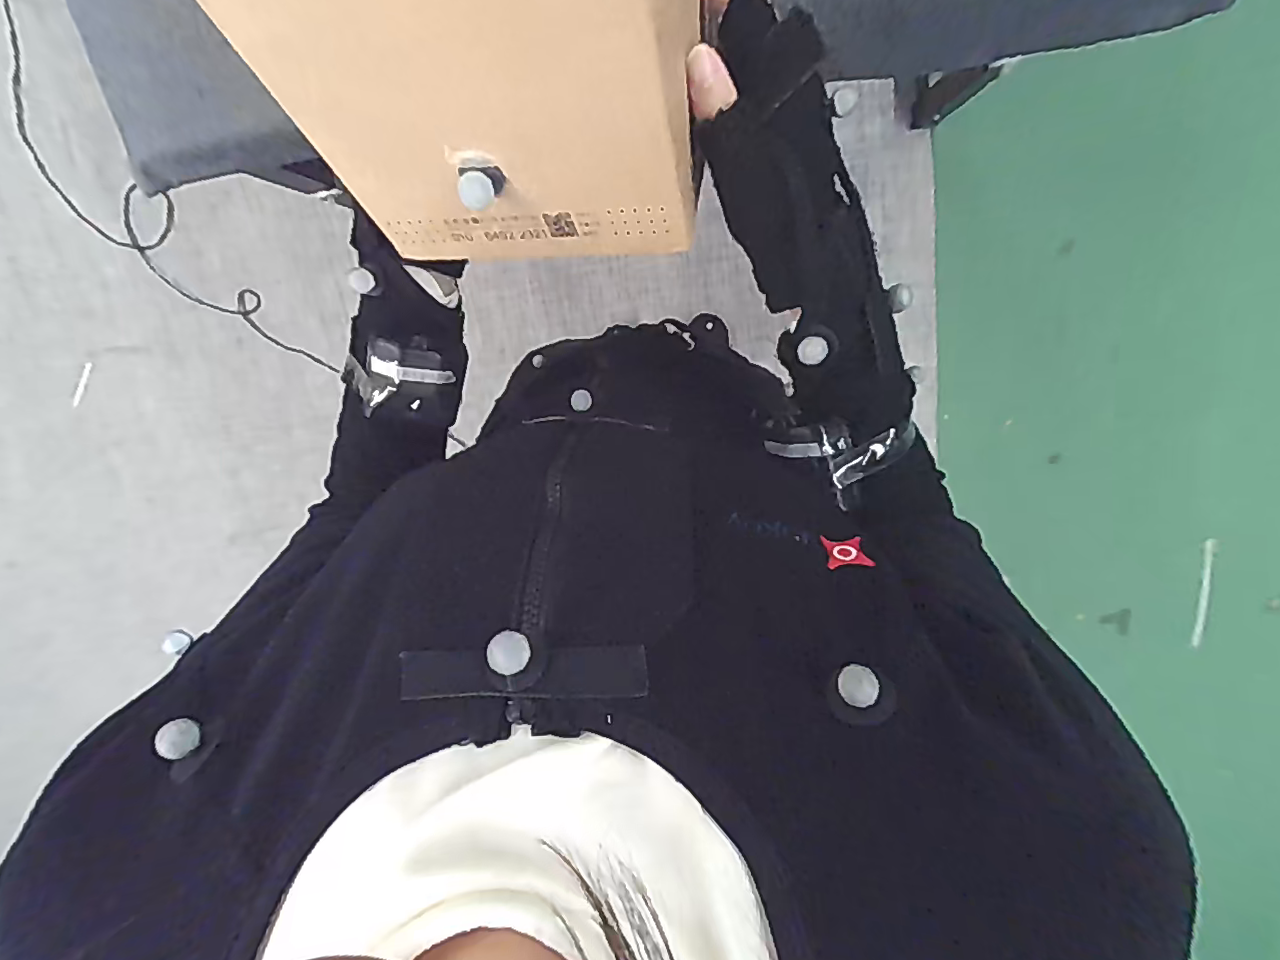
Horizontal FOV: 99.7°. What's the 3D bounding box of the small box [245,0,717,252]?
[{"bbox_3d":[-0.059,-0.234,0.248,0.168,0.176,0.179,5,69,15],"label":"small box"}]
